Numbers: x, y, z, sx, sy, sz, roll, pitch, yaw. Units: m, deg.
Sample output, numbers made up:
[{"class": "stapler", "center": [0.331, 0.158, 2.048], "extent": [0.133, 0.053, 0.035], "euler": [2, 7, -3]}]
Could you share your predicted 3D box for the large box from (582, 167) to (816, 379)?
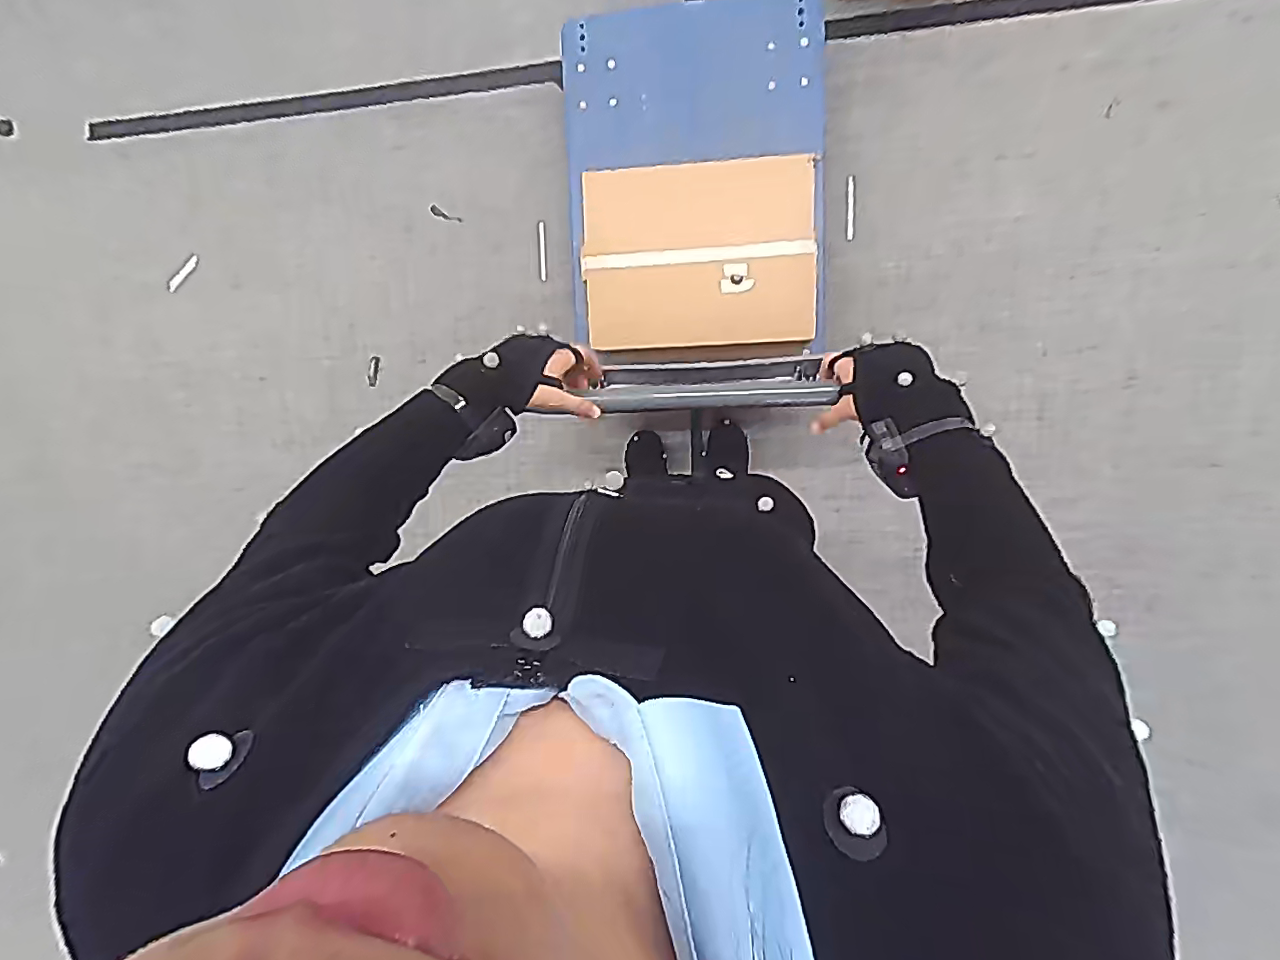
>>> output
[{"class": "large box", "center": [0.113, -0.384, 1.094], "extent": [0.408, 0.320, 0.320], "euler": [-2, 96, 5]}]
